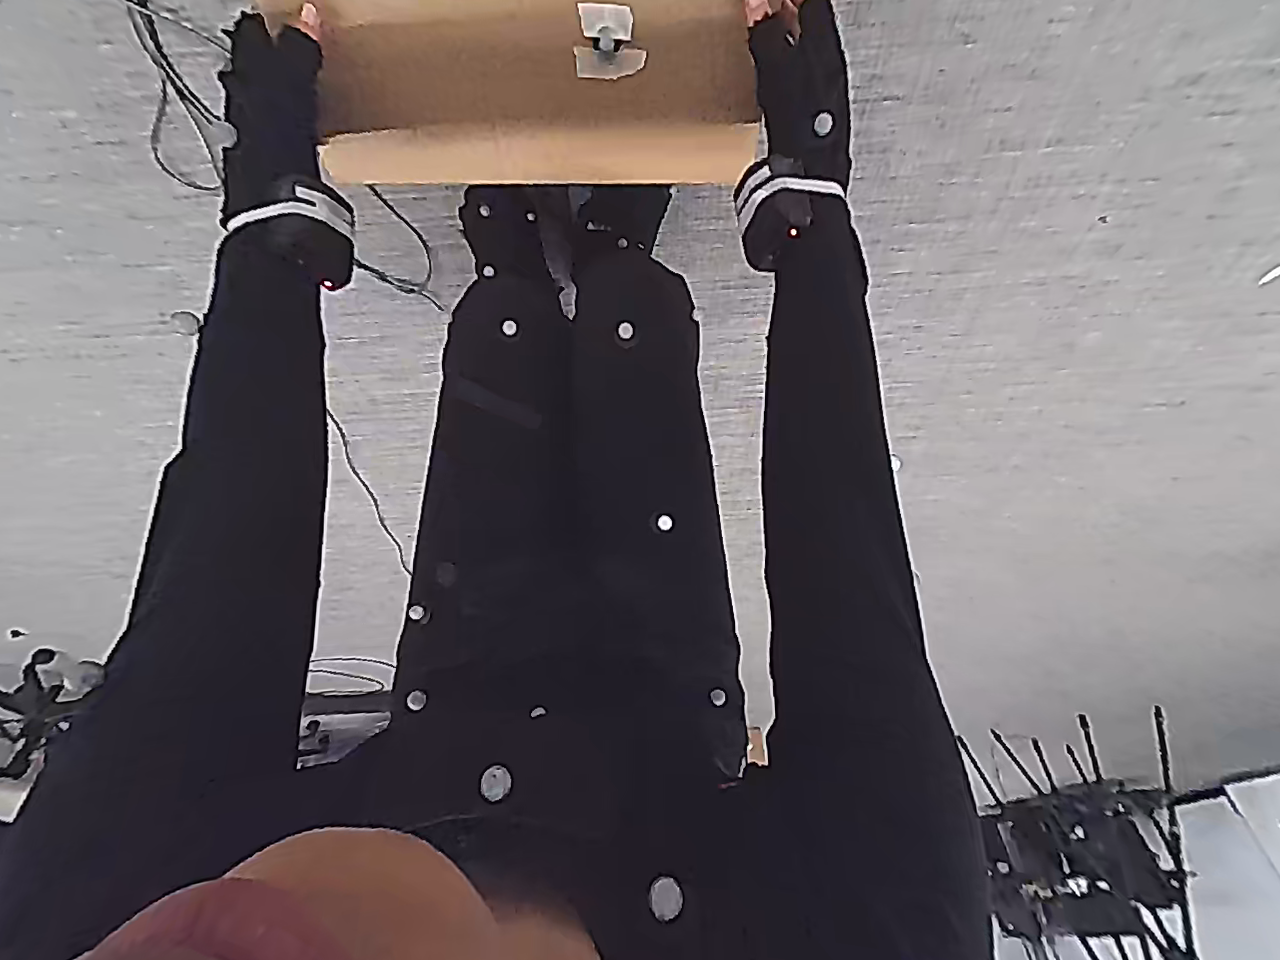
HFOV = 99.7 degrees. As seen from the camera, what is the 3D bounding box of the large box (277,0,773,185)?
[{"bbox_3d":[-0.098,-0.511,0.515,0.408,0.320,0.320,-2,141,-2],"label":"large box"}]
